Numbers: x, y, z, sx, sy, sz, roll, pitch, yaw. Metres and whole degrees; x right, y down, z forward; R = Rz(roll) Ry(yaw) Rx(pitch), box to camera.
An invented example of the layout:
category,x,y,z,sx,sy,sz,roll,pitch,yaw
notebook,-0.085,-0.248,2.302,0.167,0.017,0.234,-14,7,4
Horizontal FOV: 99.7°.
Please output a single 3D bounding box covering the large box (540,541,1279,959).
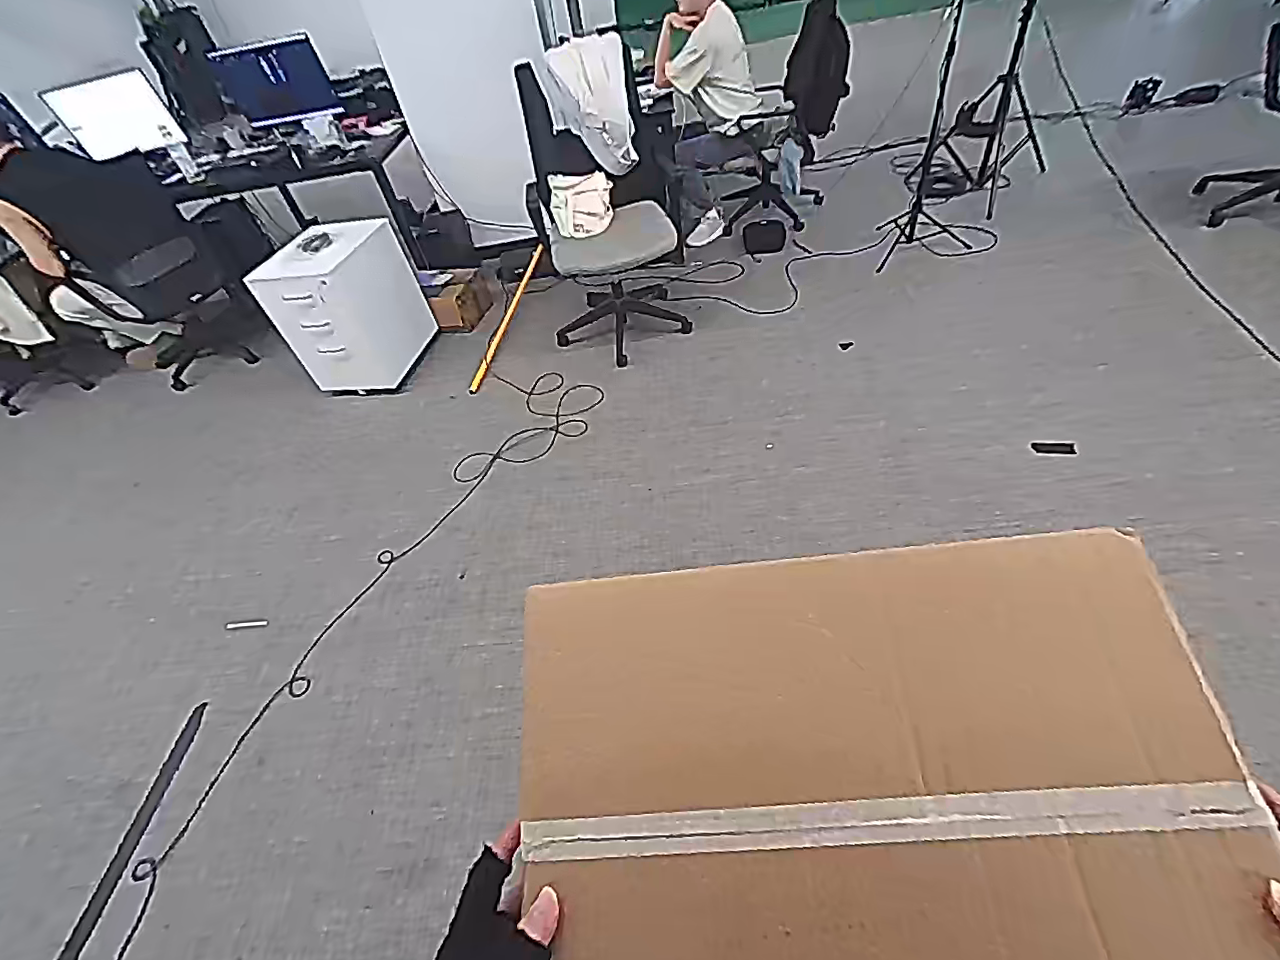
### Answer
category,x,y,z,sx,sy,sz,roll,pitch,yaw
large box,0.154,0.264,0.451,0.408,0.320,0.320,-7,66,6
